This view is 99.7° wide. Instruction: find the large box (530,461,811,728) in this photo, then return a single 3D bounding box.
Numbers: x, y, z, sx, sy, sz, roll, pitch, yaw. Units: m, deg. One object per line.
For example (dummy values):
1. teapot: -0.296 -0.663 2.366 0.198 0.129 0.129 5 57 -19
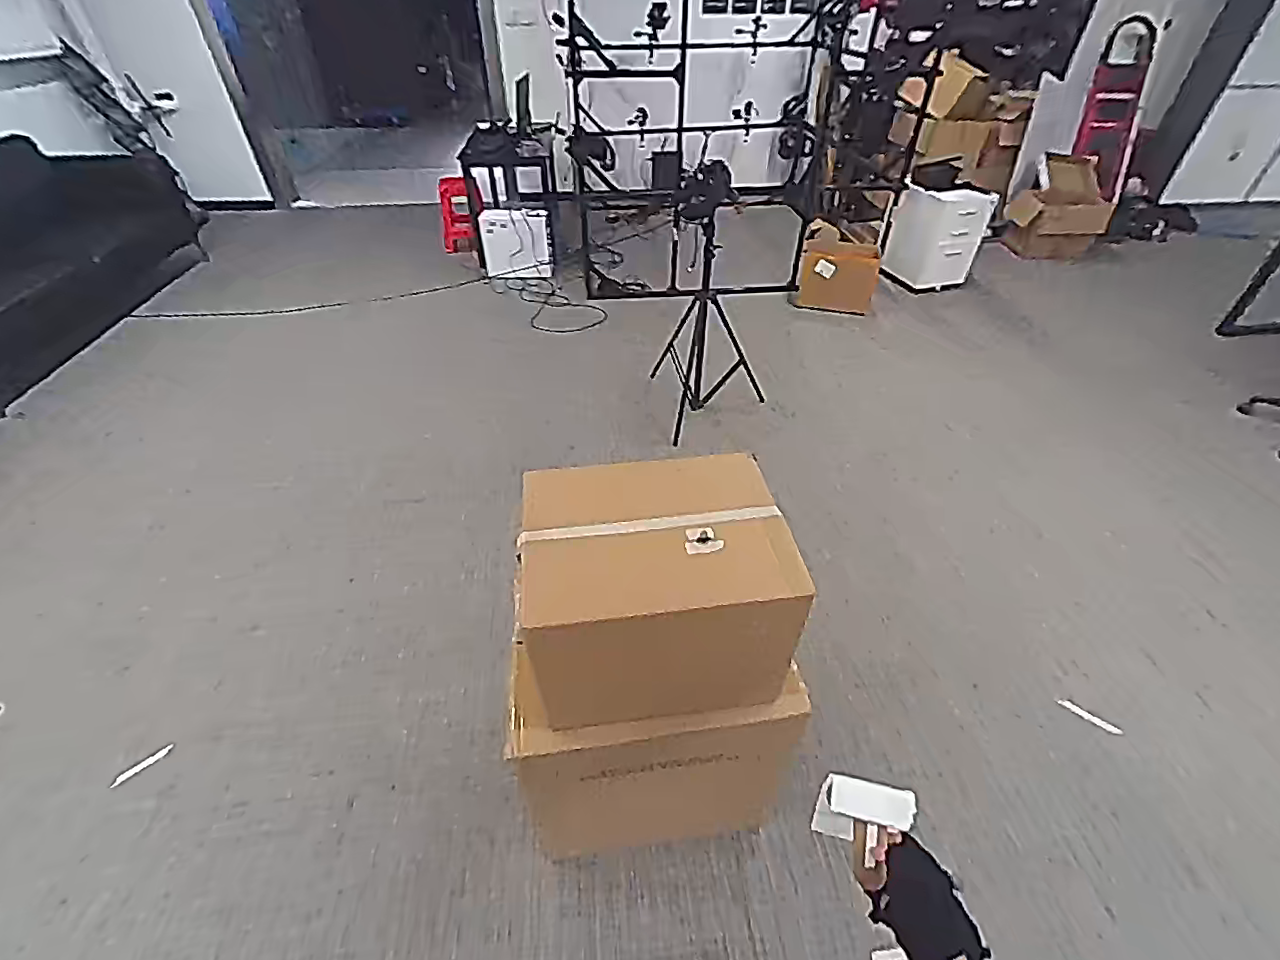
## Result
1. large box: 0.025 0.194 0.951 0.408 0.320 0.320 -5 42 -6
